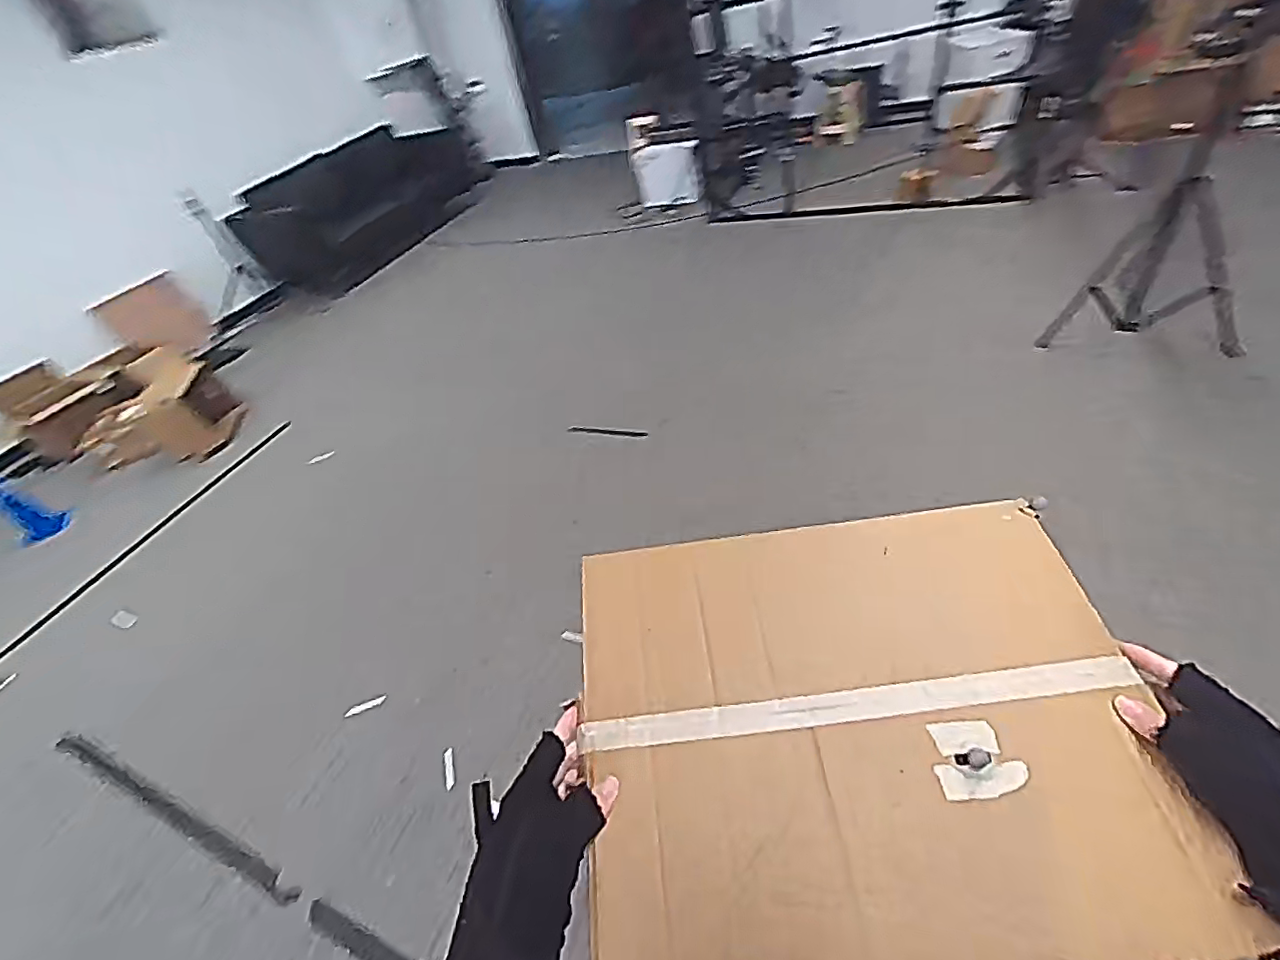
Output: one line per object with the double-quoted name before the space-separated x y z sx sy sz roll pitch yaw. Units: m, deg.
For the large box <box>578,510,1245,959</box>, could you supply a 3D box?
"large box" 0.169 0.269 0.535 0.408 0.320 0.320 -9 53 2
